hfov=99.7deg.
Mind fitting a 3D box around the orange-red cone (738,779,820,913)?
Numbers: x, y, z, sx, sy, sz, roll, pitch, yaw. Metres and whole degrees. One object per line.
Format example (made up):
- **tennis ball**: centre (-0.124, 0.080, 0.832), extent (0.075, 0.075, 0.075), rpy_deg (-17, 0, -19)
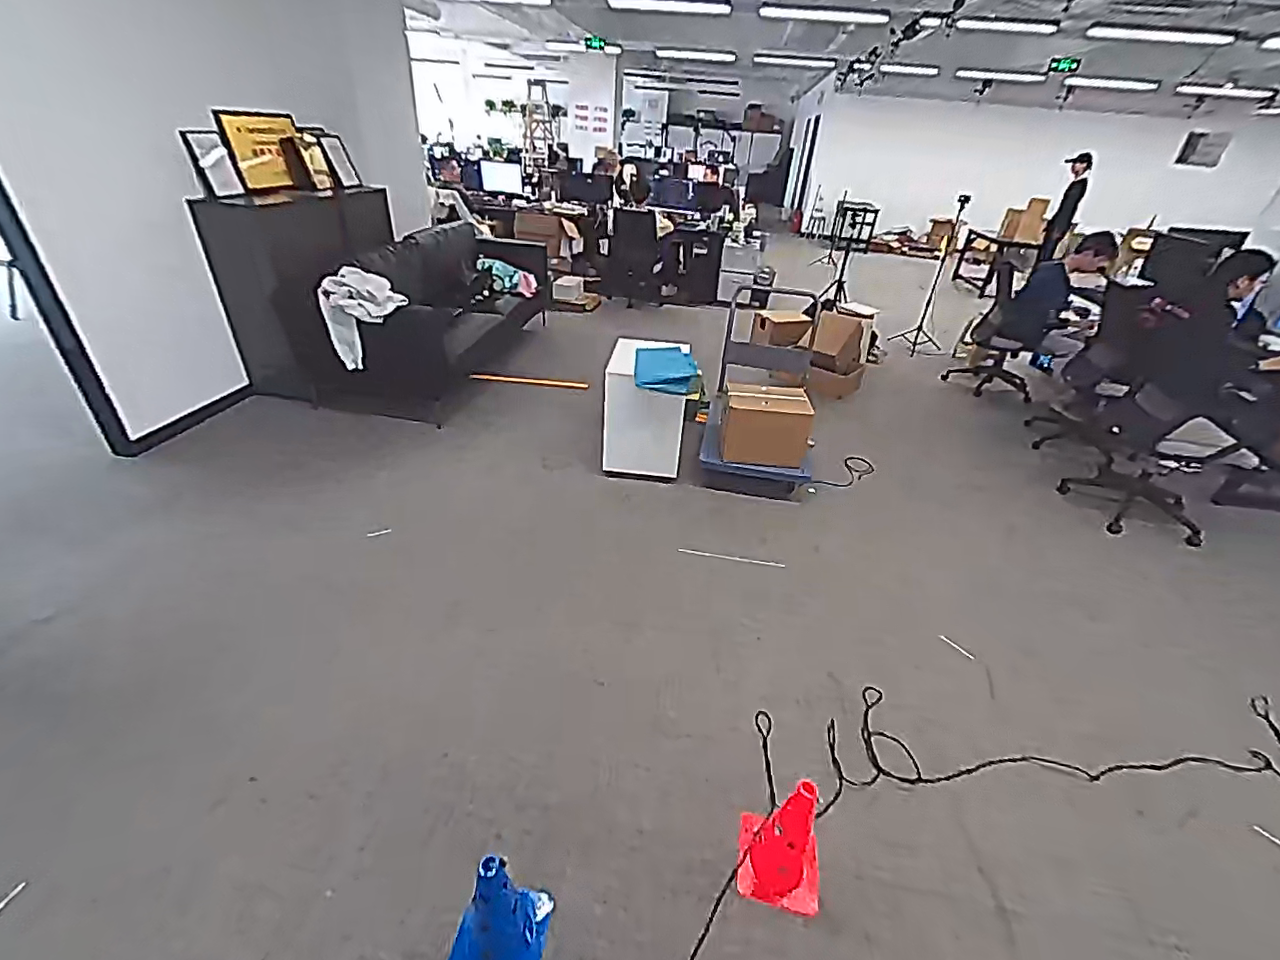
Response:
- **orange-red cone**: centre (0.365, 0.830, 1.292), extent (0.198, 0.360, 0.199), rpy_deg (10, 34, 11)
